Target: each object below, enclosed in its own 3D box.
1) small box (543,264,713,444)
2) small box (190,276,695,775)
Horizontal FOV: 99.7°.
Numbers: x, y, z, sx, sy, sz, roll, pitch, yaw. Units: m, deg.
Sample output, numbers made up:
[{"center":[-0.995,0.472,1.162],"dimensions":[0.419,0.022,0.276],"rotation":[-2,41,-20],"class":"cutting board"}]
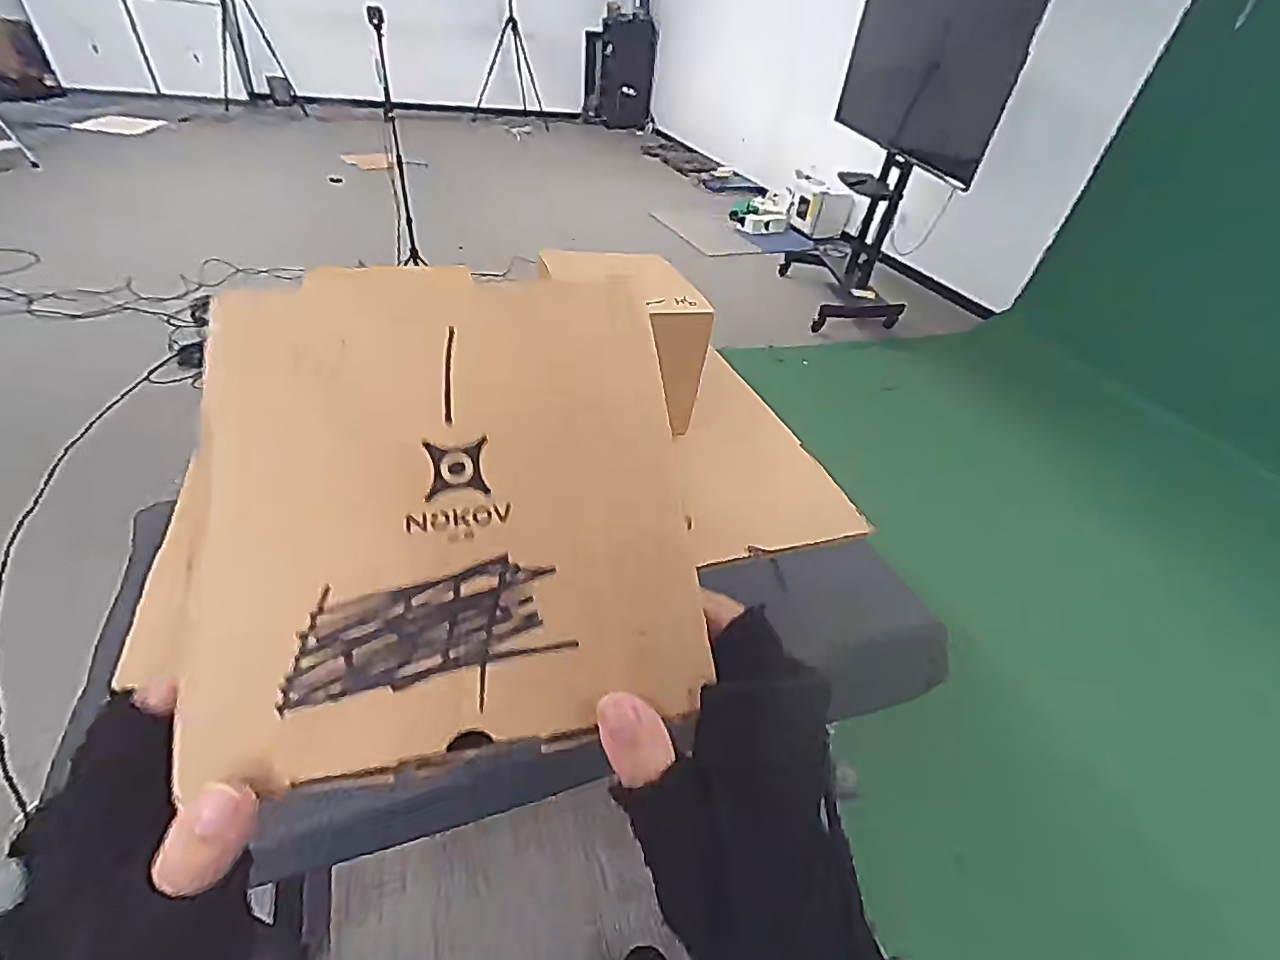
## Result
[{"center":[-0.030,-0.158,0.685],"dimensions":[0.168,0.176,0.179],"rotation":[-8,42,-18],"class":"small box"},{"center":[-0.081,0.025,0.277],"dimensions":[0.168,0.176,0.179],"rotation":[-6,73,-10],"class":"small box"}]
